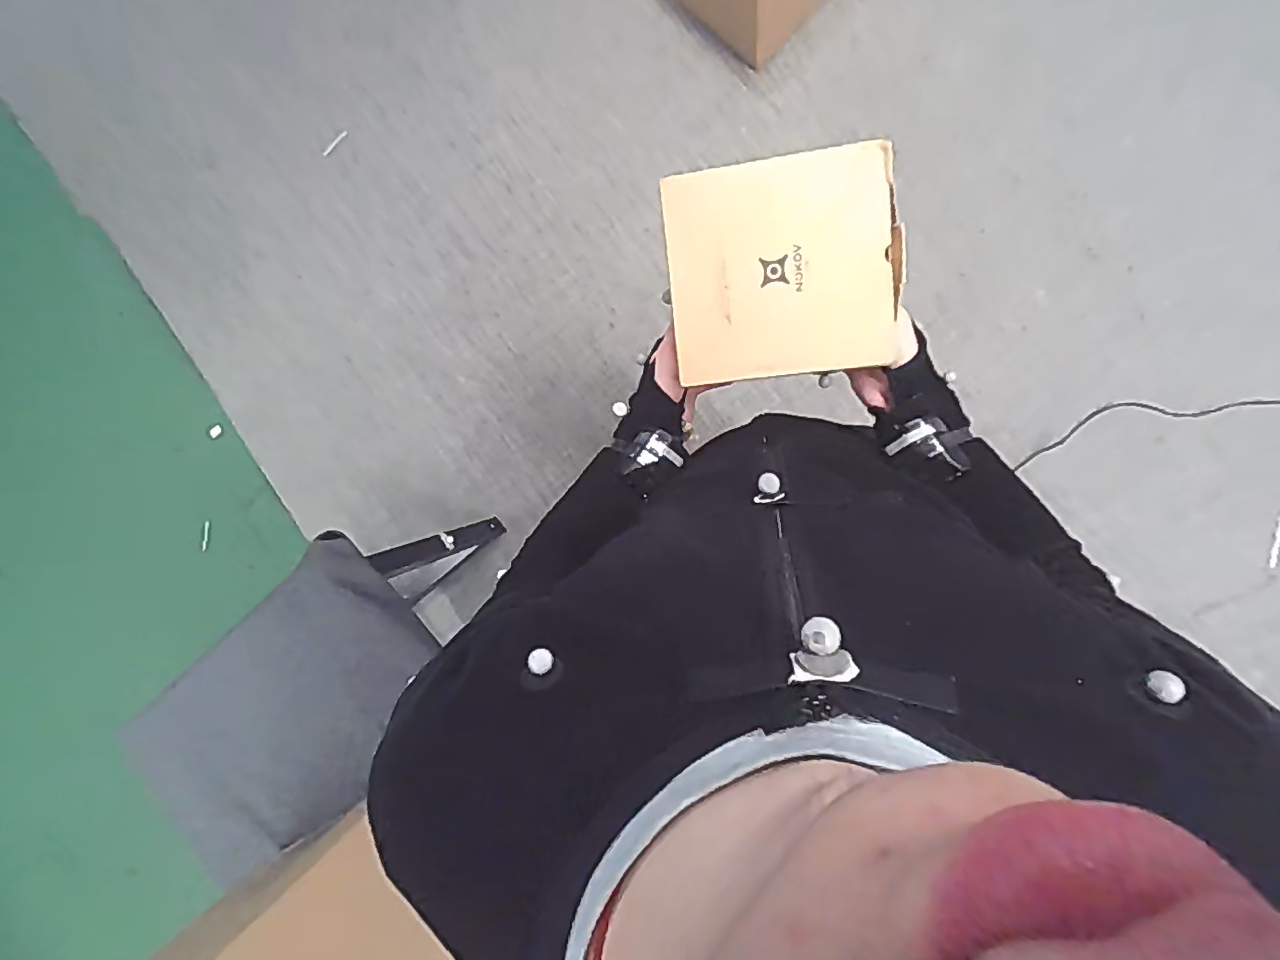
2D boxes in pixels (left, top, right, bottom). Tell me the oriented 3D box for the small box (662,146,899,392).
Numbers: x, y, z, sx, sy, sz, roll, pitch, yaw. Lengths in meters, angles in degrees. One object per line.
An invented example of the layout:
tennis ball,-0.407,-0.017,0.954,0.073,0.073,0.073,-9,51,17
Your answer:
small box,0.123,-0.176,0.505,0.179,0.176,0.168,-6,99,11
